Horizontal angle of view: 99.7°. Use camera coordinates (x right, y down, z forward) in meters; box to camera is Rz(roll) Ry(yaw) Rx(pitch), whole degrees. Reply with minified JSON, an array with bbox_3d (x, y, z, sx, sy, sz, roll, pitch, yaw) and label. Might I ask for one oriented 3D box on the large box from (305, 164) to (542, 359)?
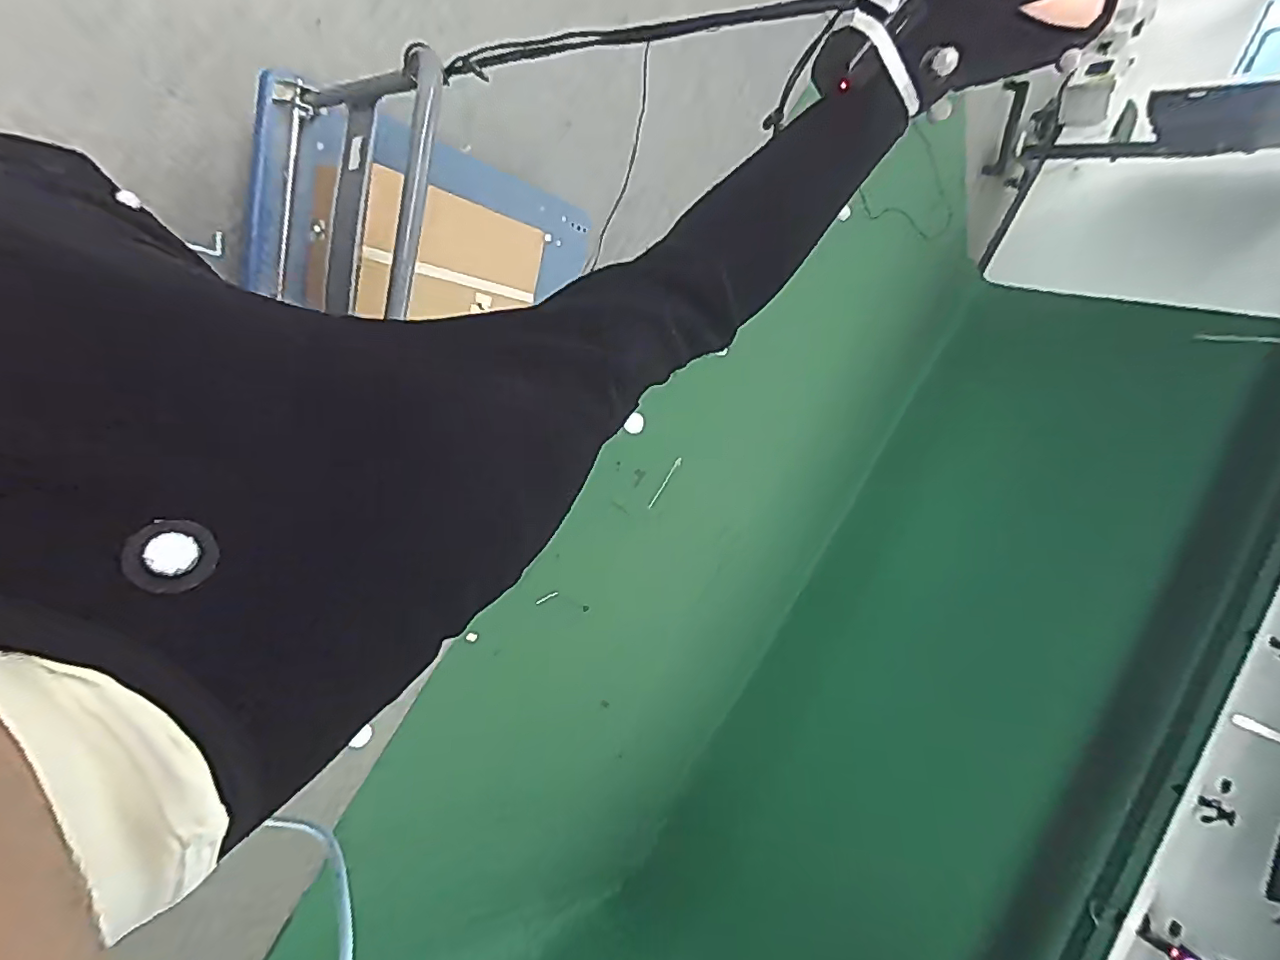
[{"bbox_3d":[-0.503,-0.490,1.257,0.408,0.320,0.320,-1,111,-49],"label":"large box"}]
